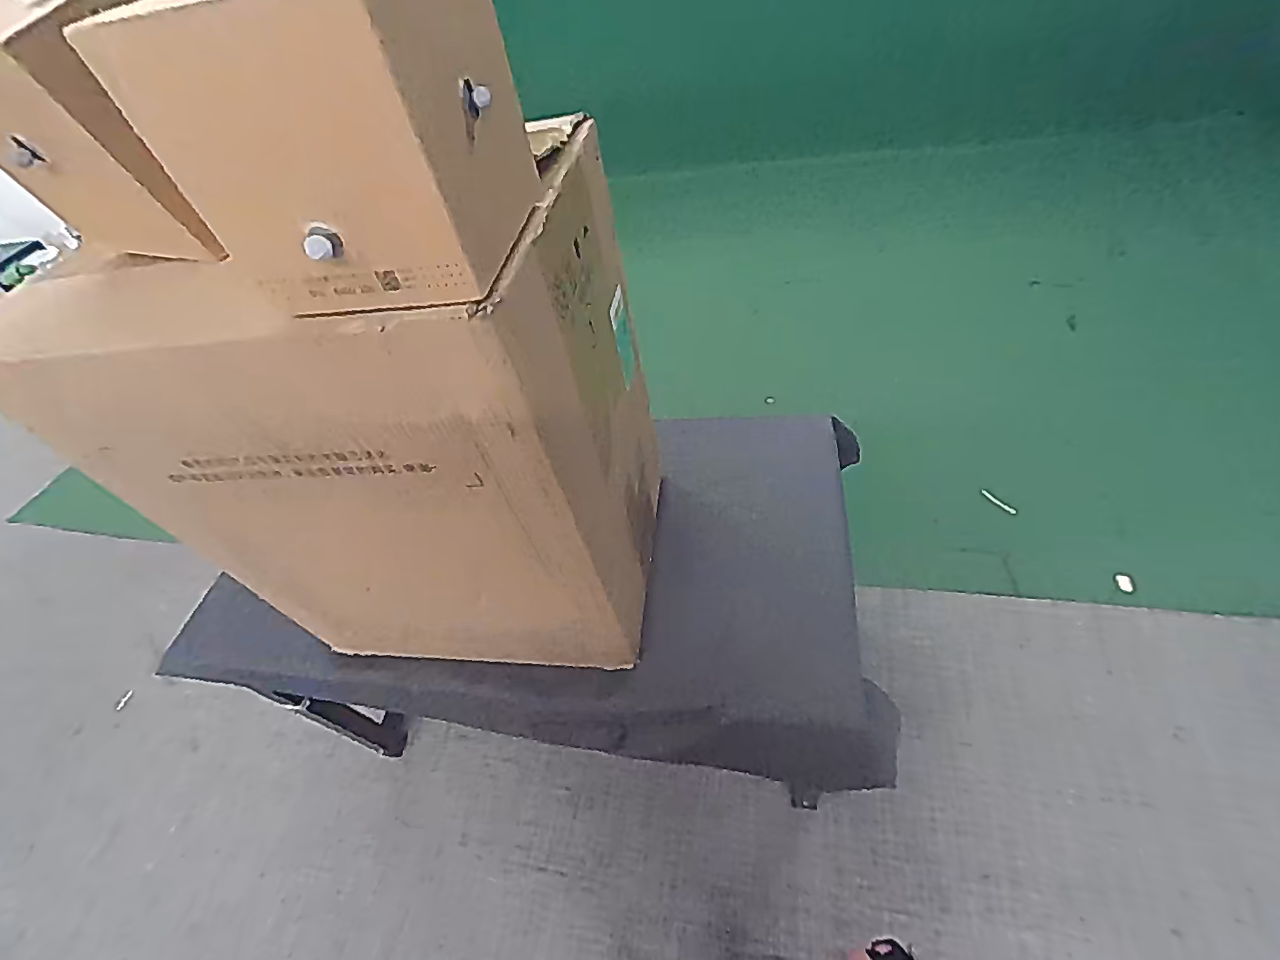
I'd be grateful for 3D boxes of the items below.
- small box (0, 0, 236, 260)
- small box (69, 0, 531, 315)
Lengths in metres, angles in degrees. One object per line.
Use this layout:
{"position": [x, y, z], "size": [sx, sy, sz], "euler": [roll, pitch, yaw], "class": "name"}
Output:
{"position": [-0.436, -0.313, 0.467], "size": [0.179, 0.176, 0.168], "euler": [12, 65, 19], "class": "small box"}
{"position": [-0.187, -0.235, 0.369], "size": [0.168, 0.176, 0.179], "euler": [0, 51, 11], "class": "small box"}
